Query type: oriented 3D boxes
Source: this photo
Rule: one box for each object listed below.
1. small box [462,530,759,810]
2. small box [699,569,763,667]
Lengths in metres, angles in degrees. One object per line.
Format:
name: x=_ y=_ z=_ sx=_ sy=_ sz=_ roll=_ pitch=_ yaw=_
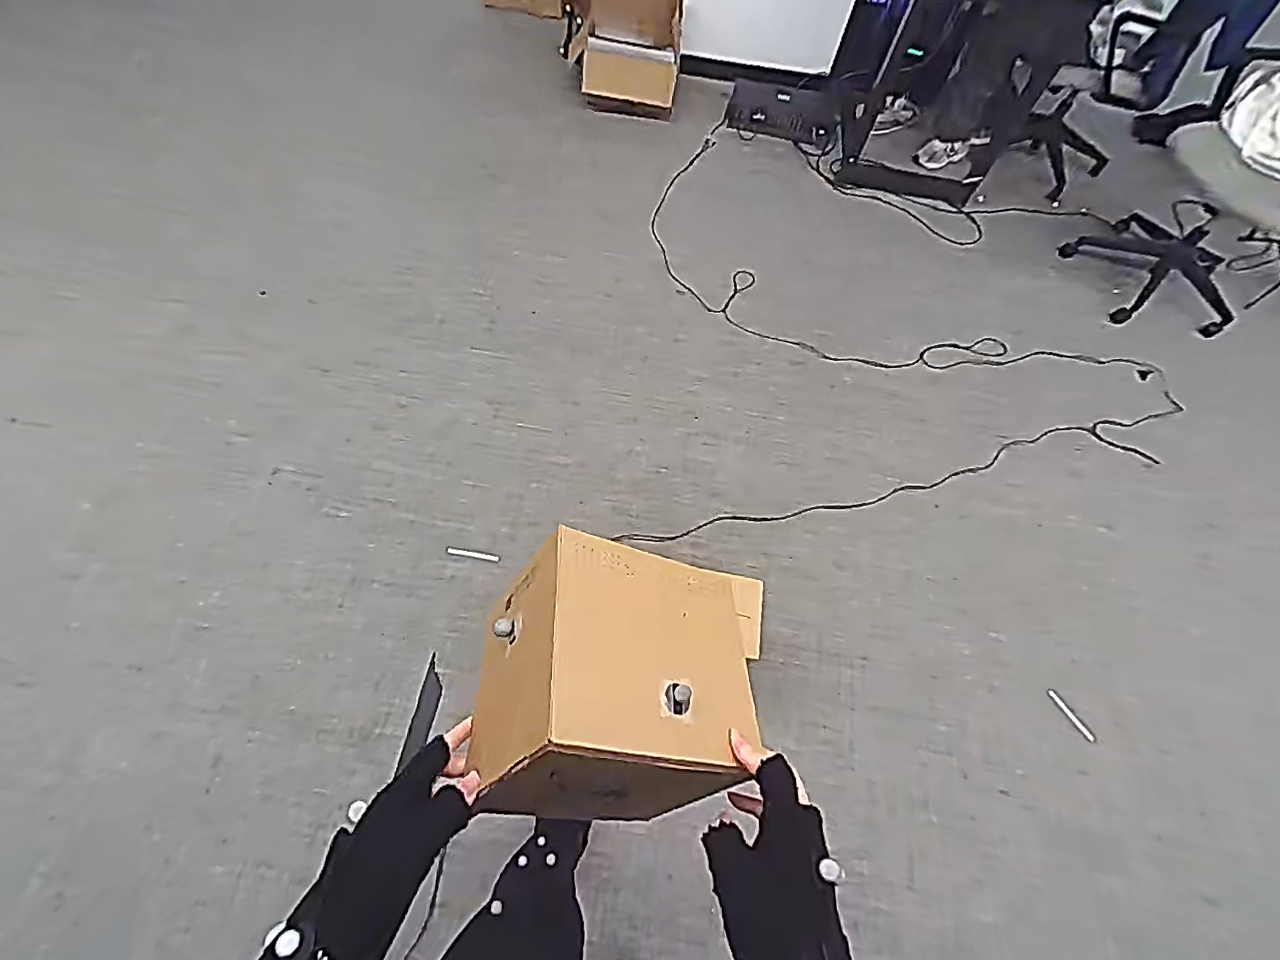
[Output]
small box: x=-0.028 y=0.167 z=0.467 sx=0.179 sy=0.168 sz=0.176 roll=22 pitch=41 yaw=-24
small box: x=0.153 y=0.306 z=1.174 sx=0.179 sy=0.176 sz=0.168 roll=12 pitch=63 yaw=-2
